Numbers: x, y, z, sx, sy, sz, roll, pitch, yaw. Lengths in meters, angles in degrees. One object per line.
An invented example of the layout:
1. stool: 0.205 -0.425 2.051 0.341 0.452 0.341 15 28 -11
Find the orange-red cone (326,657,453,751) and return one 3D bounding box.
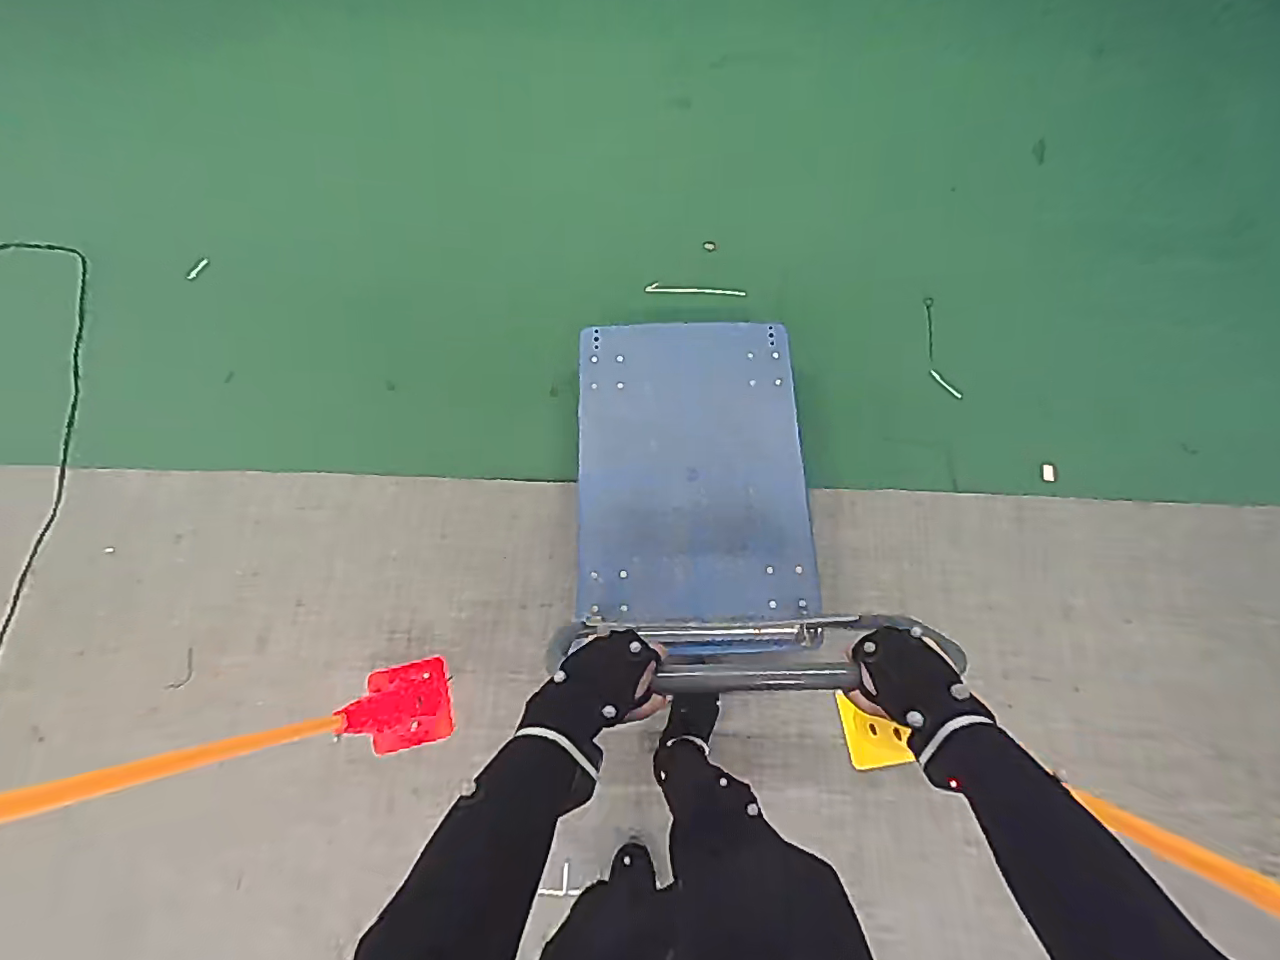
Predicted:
1. orange-red cone: -0.578 0.509 1.193 0.199 0.360 0.198 -13 73 -3
